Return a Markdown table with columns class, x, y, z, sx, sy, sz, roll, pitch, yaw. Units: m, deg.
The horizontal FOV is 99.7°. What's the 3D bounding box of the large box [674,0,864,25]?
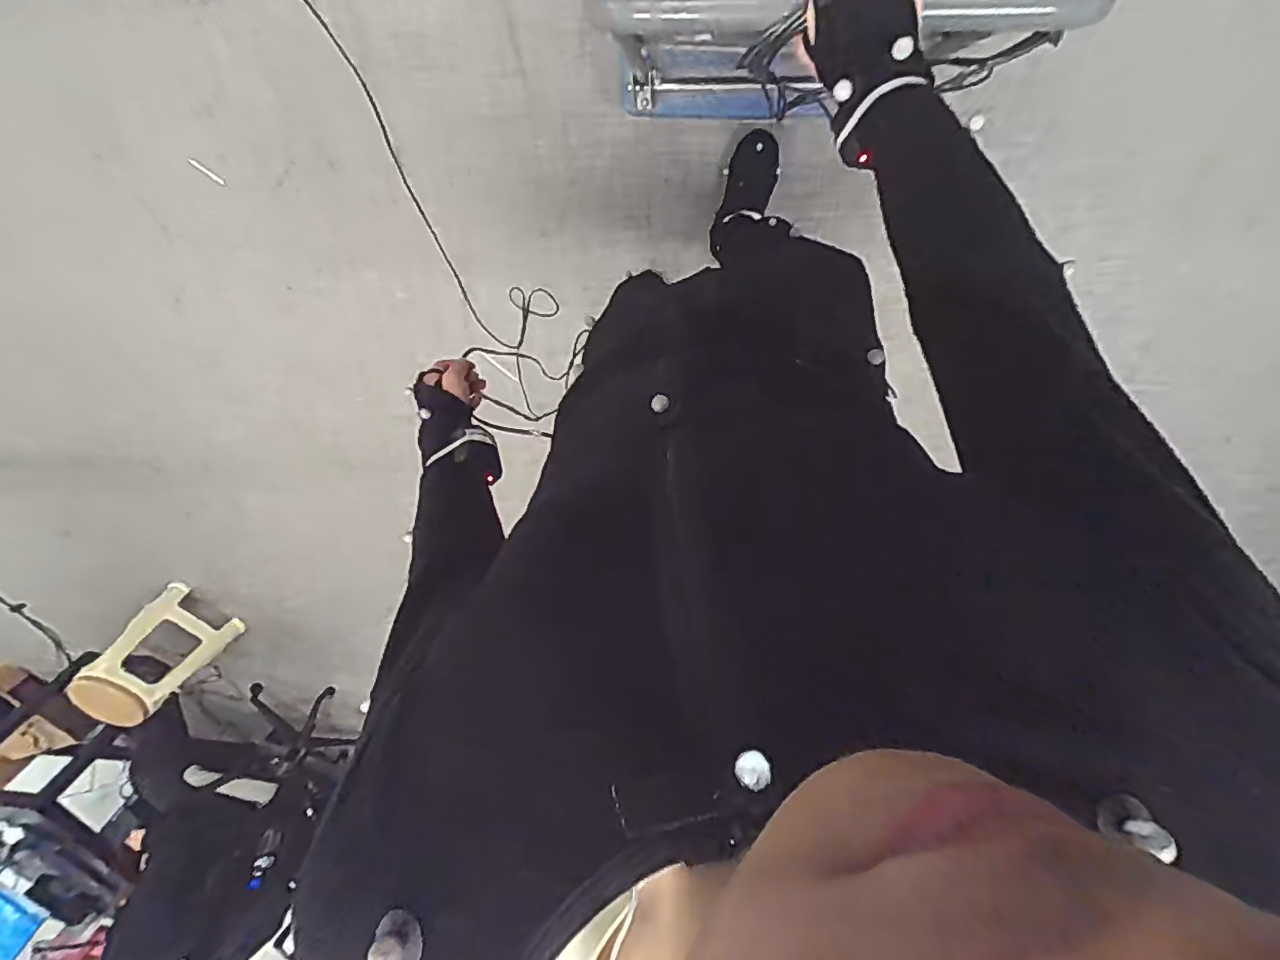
| class | x | y | z | sx | sy | sz | roll | pitch | yaw |
| --- | --- | --- | --- | --- | --- | --- | --- | --- | --- |
| large box | 0.209 | -0.938 | 0.777 | 0.320 | 0.320 | 0.408 | 5 | 122 | 3 |
